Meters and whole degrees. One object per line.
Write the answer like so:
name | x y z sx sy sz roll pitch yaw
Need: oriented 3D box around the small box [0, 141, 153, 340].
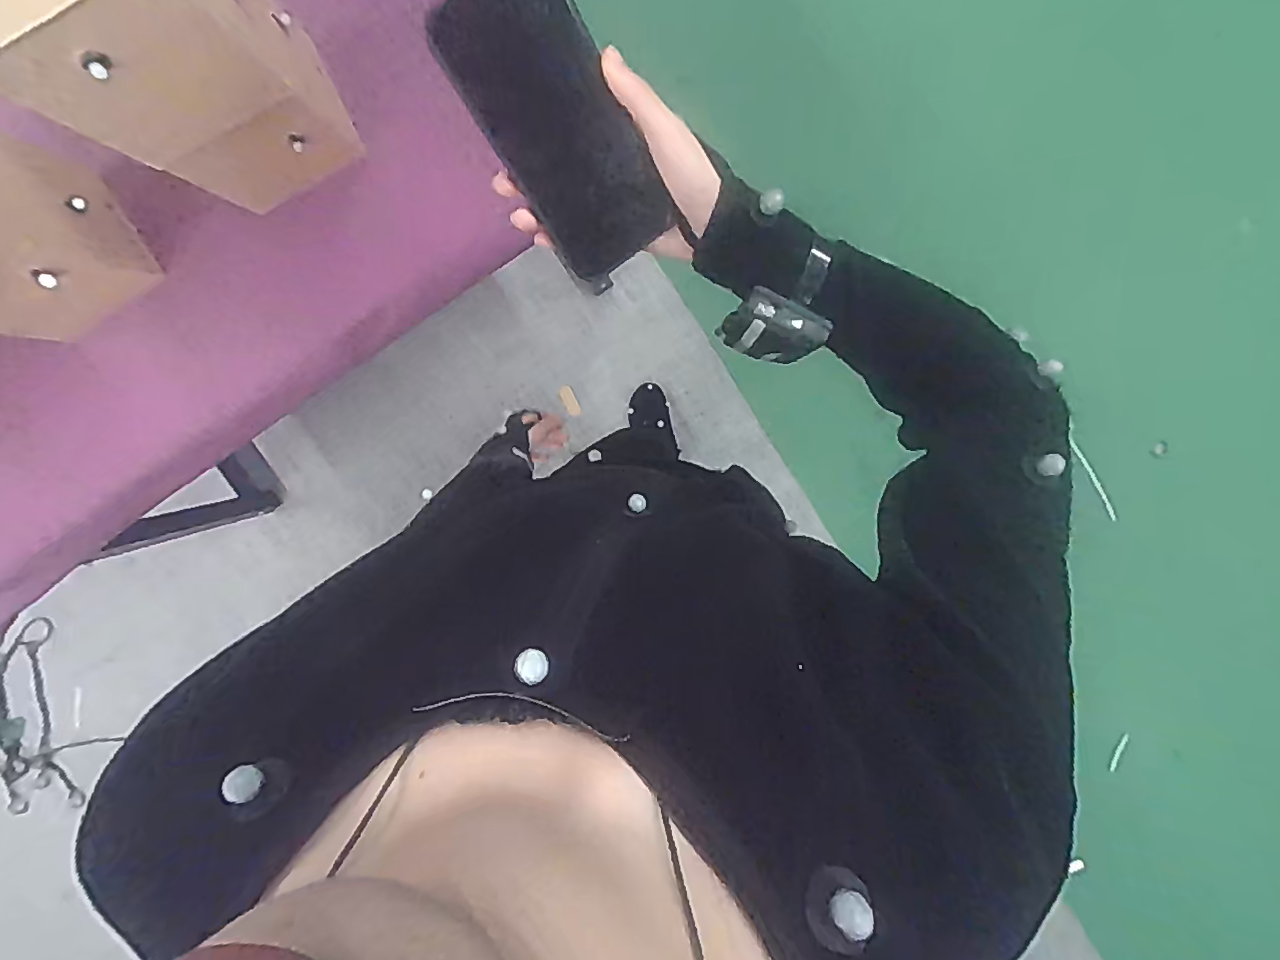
small box | -0.772 -0.296 0.675 0.179 0.176 0.168 -31 94 7

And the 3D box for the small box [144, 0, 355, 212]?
small box | -0.474 -0.456 0.638 0.179 0.176 0.168 -24 95 6

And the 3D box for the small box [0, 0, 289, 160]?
small box | -0.468 -0.427 0.477 0.179 0.176 0.168 -25 95 6
